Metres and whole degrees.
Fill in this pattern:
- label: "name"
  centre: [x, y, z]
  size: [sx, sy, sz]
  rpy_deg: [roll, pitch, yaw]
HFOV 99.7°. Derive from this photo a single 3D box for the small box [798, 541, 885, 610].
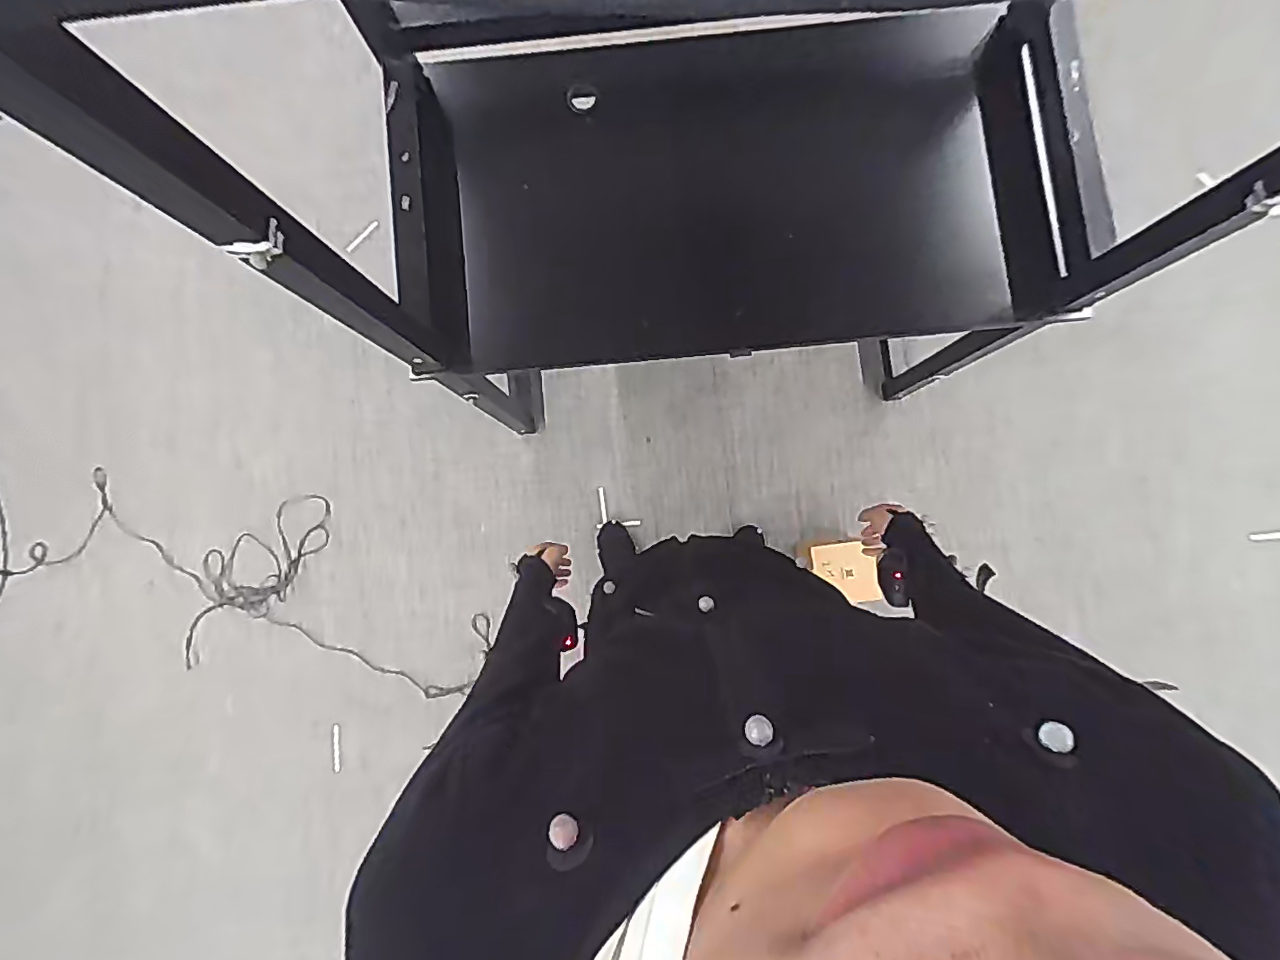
- label: "small box"
  centre: [0.570, 0.268, 1.547]
  size: [0.179, 0.176, 0.168]
  rpy_deg: [-7, 85, 2]
